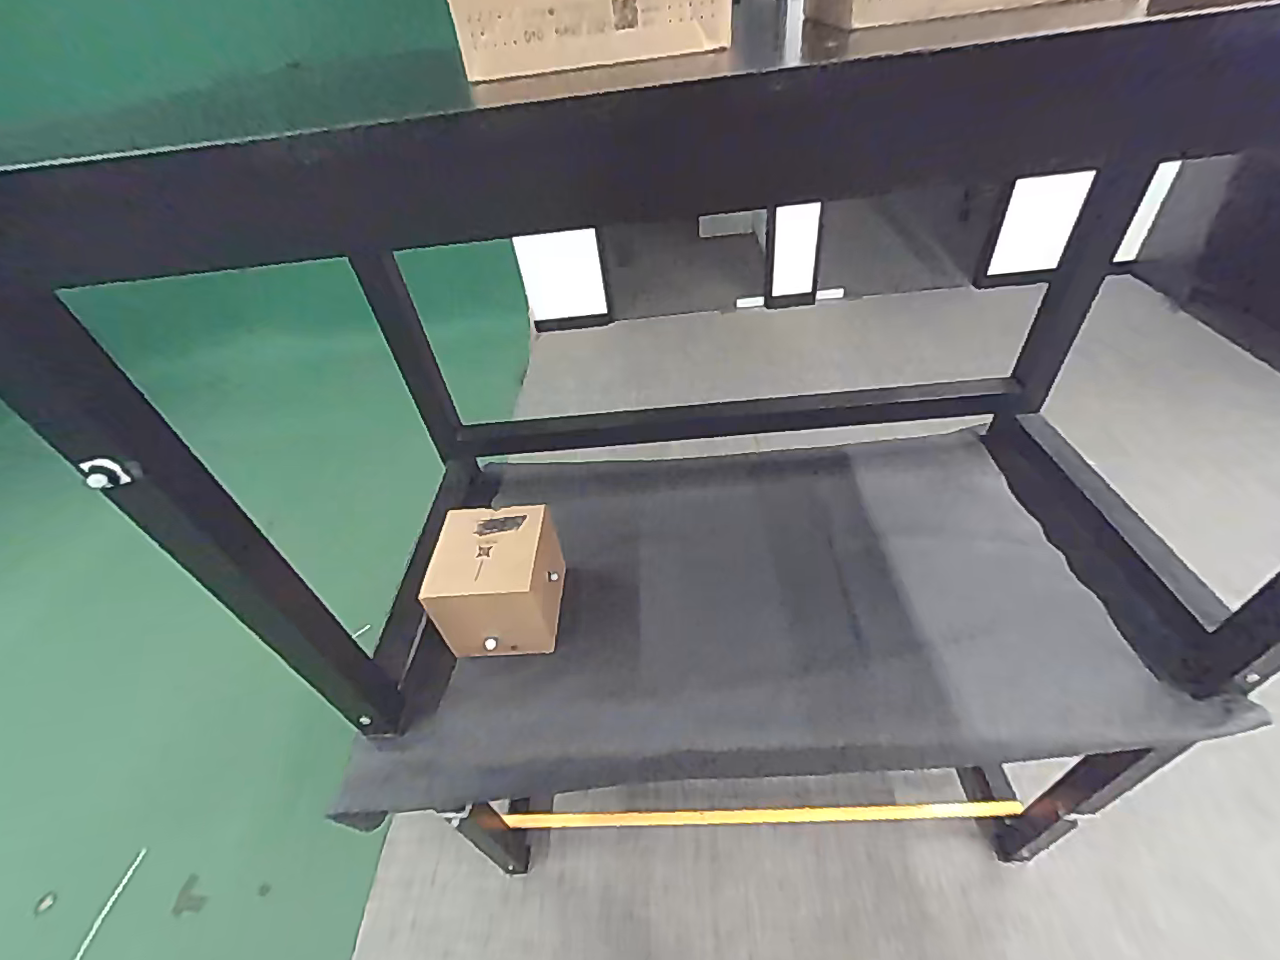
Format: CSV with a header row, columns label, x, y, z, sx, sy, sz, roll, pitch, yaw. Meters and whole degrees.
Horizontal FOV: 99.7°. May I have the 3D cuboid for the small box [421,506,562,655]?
label,x,y,z,sx,sy,sz,roll,pitch,yaw
small box,-0.228,0.165,0.886,0.168,0.176,0.179,-4,42,4

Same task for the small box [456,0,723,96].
label,x,y,z,sx,sy,sz,roll,pitch,yaw
small box,-0.035,-0.371,0.359,0.168,0.176,0.179,-4,41,5
